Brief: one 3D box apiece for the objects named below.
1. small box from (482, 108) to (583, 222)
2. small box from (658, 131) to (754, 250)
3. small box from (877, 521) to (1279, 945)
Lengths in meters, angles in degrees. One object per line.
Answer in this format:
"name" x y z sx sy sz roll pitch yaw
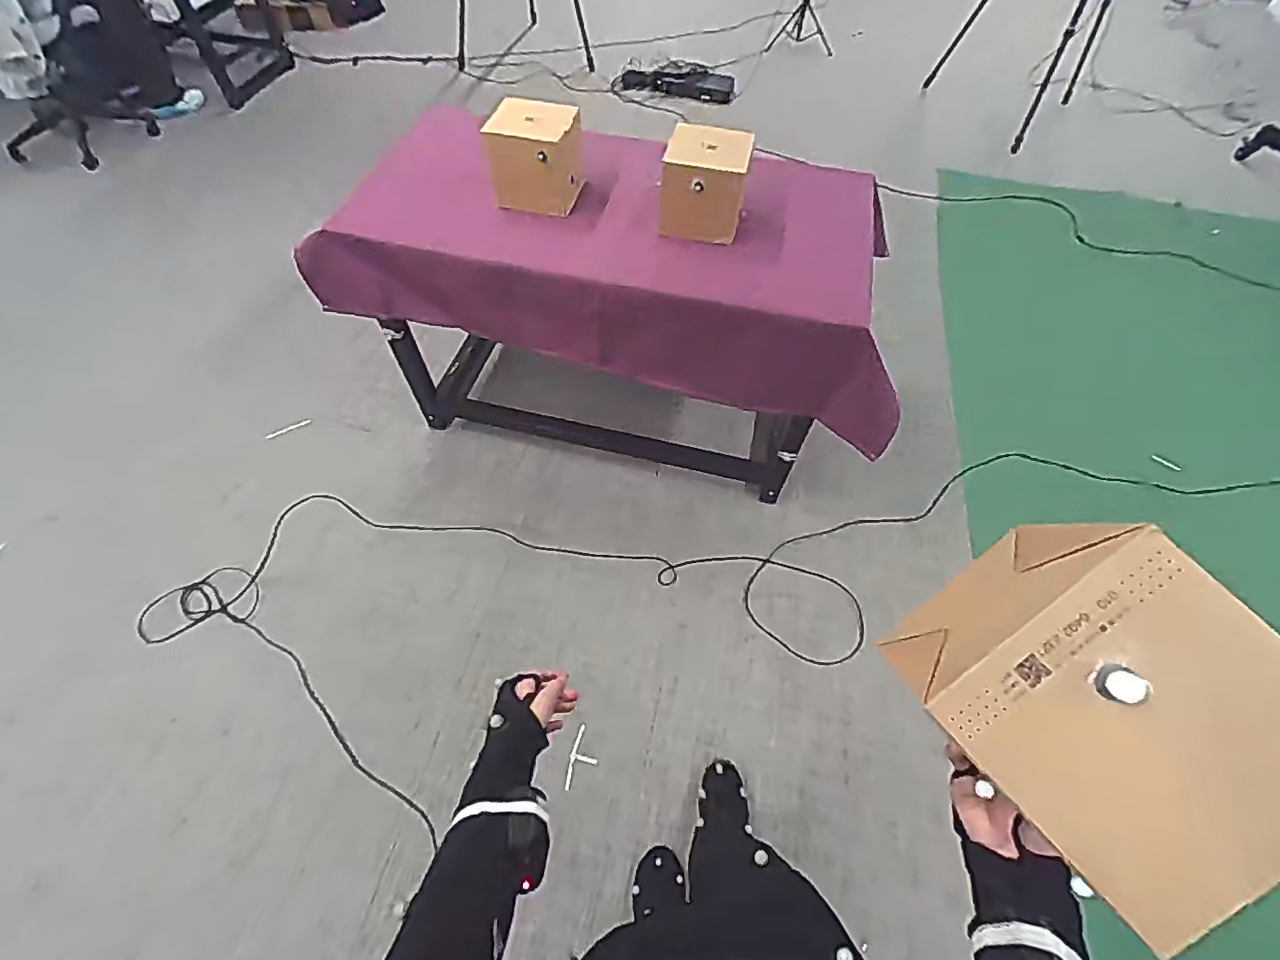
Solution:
"small box" -0.238 -0.725 1.251 0.179 0.176 0.168 11 57 5
"small box" 0.141 -0.640 1.203 0.179 0.176 0.168 13 58 6
"small box" 0.297 0.143 0.379 0.168 0.179 0.176 -45 75 7
